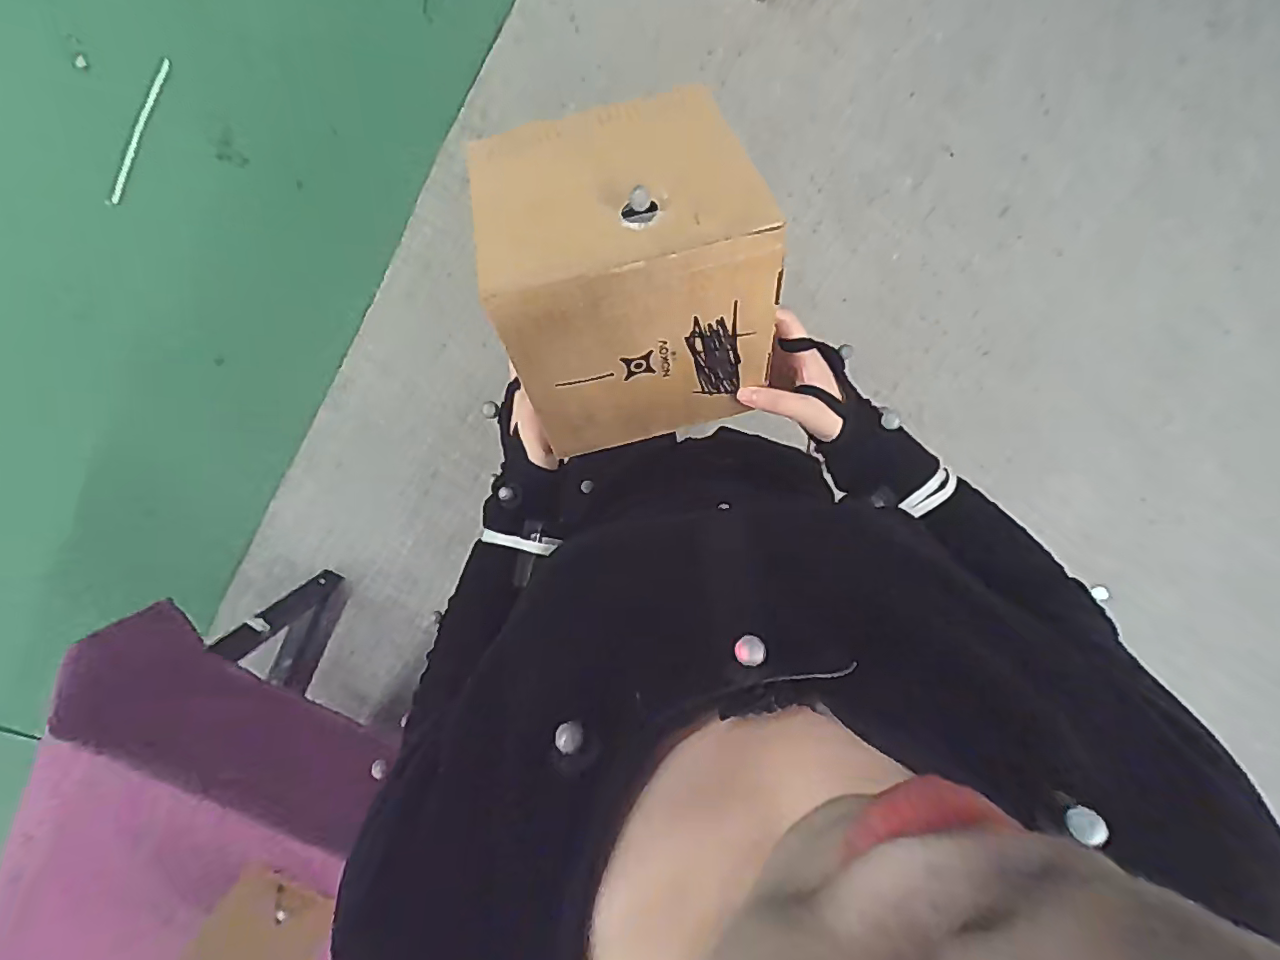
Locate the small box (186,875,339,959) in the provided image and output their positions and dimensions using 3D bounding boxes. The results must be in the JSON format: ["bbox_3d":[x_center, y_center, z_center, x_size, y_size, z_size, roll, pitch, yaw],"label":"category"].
[{"bbox_3d":[-0.596,0.759,0.814,0.168,0.176,0.179,31,100,-6],"label":"small box"}]

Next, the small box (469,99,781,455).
[{"bbox_3d":[-0.014,-0.147,0.405,0.179,0.168,0.176,-13,59,0],"label":"small box"}]
